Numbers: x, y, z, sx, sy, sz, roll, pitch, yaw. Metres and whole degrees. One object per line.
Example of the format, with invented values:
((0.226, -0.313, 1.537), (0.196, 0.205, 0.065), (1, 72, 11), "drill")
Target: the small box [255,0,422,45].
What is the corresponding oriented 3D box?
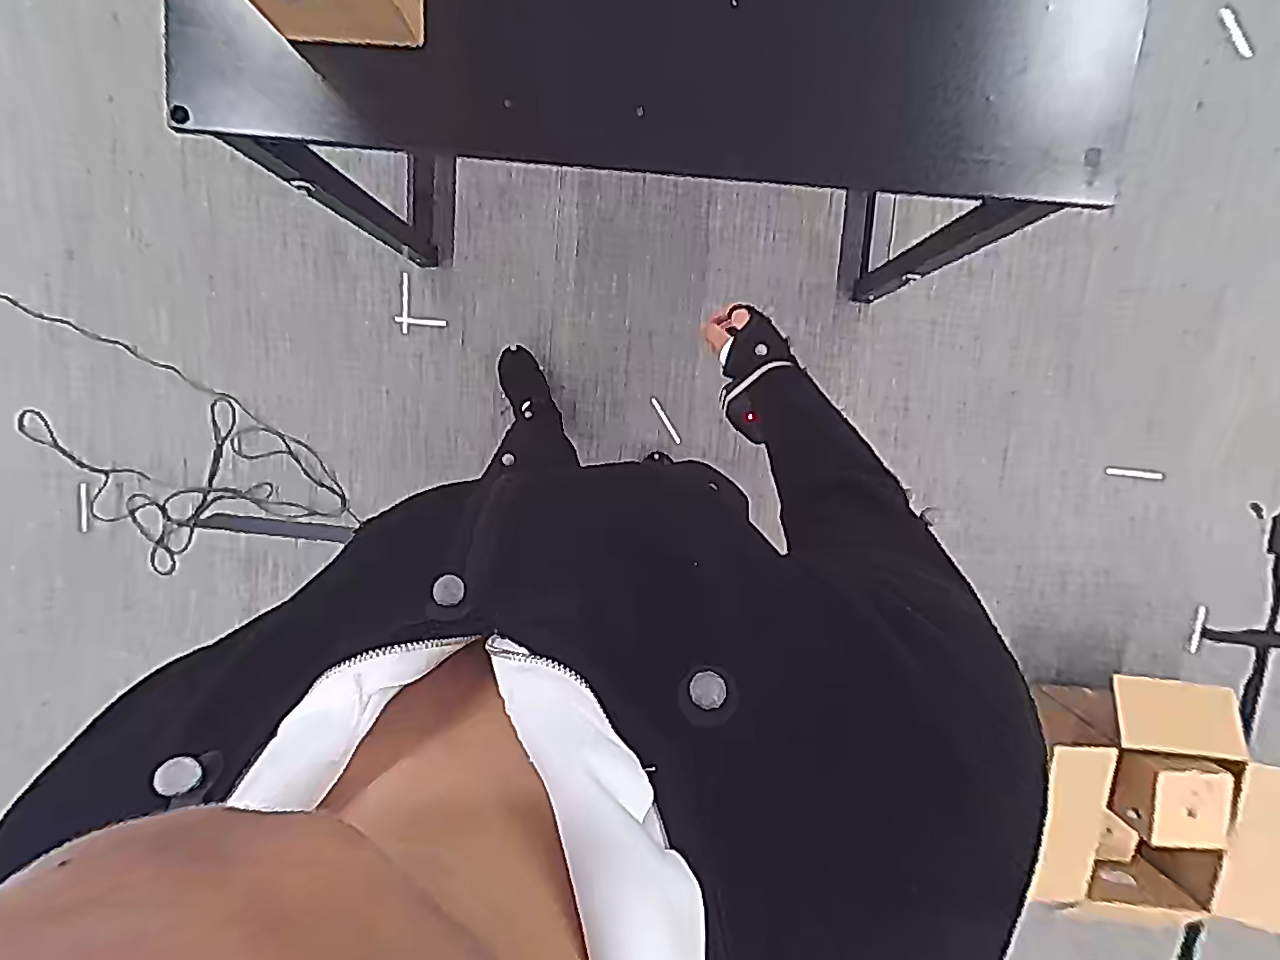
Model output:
((-0.356, -0.615, 0.586), (0.179, 0.176, 0.168), (3, 97, 0), "small box")
